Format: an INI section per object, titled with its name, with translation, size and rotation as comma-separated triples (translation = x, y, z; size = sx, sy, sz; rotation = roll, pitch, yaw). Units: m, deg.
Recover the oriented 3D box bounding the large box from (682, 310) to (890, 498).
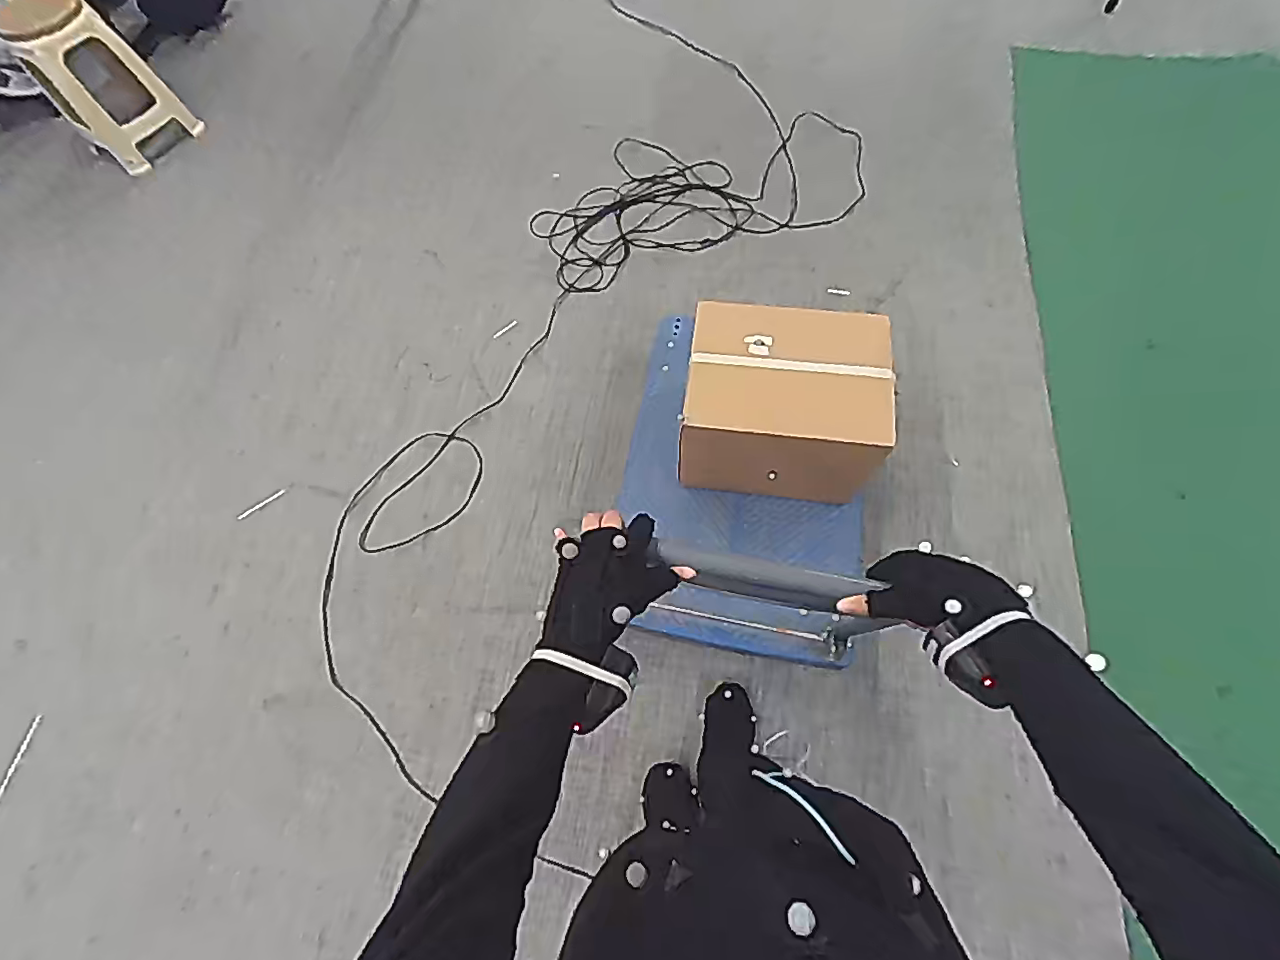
[large box]
translation = 0.311, -0.163, 1.246
size = 0.408, 0.320, 0.320
rotation = 5, 67, 7
